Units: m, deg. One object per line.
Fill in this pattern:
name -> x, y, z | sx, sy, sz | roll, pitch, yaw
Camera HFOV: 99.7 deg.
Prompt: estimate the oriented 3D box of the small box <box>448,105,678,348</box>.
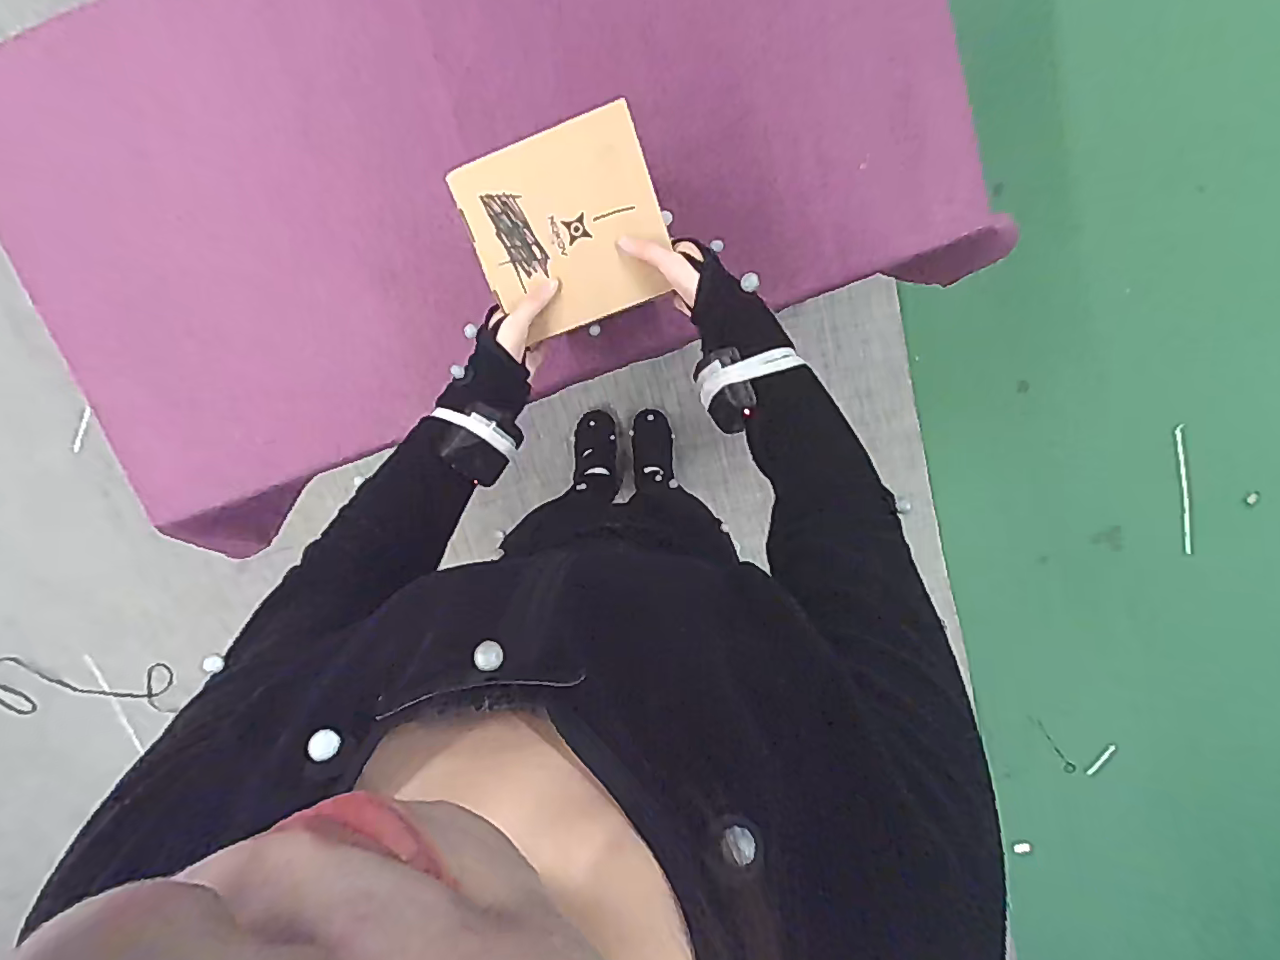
small box -> -0.066, -0.251, 0.576 | 0.179, 0.176, 0.168 | -18, 107, 7
